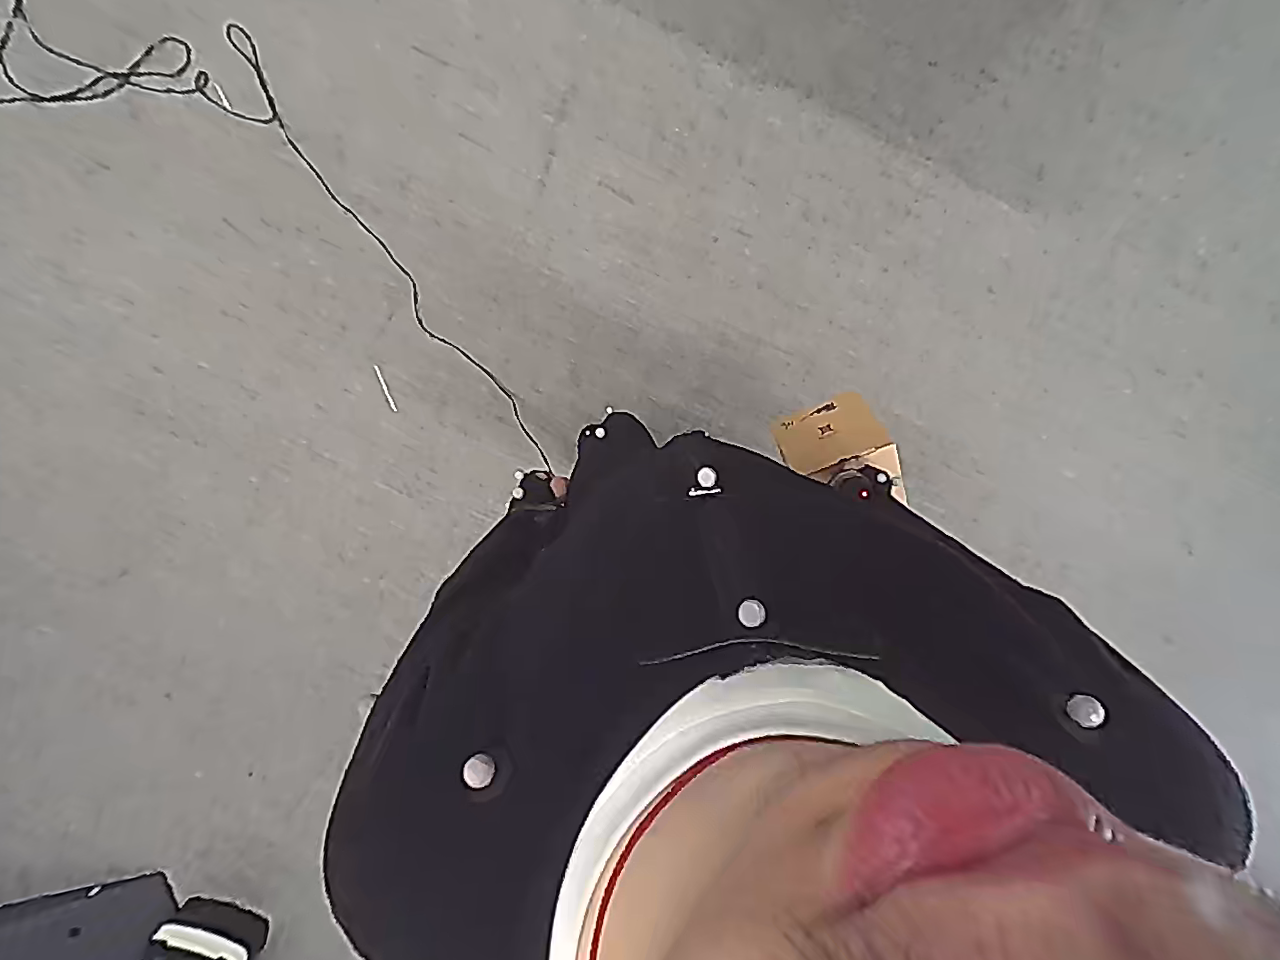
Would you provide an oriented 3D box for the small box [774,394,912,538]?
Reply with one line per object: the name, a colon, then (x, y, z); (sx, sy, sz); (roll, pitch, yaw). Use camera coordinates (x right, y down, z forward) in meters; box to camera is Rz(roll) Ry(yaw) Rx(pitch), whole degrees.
small box: (0.365, -0.017, 0.975); (0.168, 0.179, 0.176); (-23, 125, 12)
